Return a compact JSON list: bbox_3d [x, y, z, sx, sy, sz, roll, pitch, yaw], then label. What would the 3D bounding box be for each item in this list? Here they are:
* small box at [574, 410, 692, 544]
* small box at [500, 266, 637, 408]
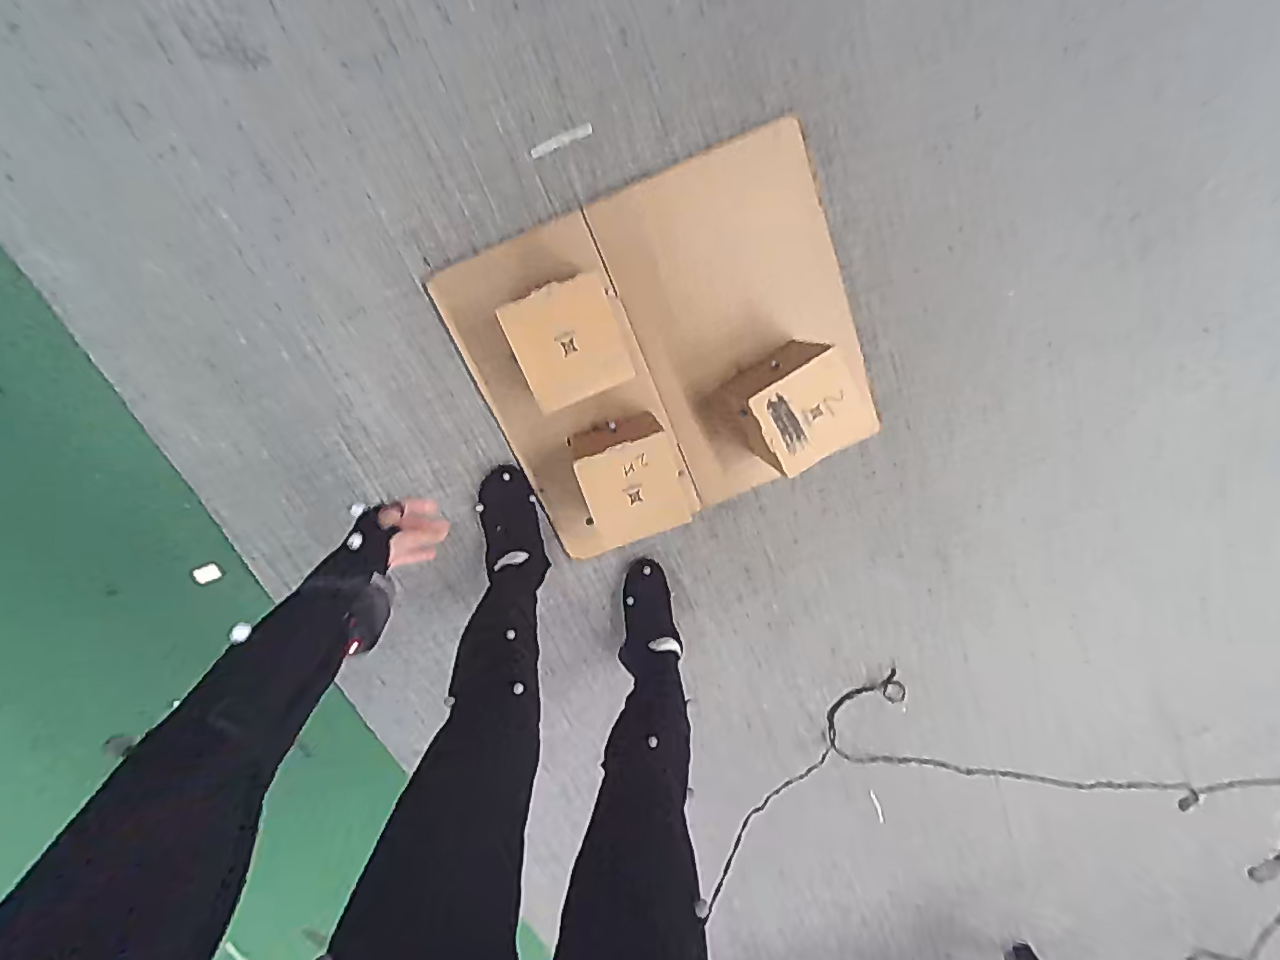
[{"bbox_3d":[-0.016,-0.012,0.996,0.168,0.176,0.179,-19,109,-2],"label":"small box"},{"bbox_3d":[-0.115,-0.243,0.911,0.168,0.176,0.179,-23,109,0],"label":"small box"}]
